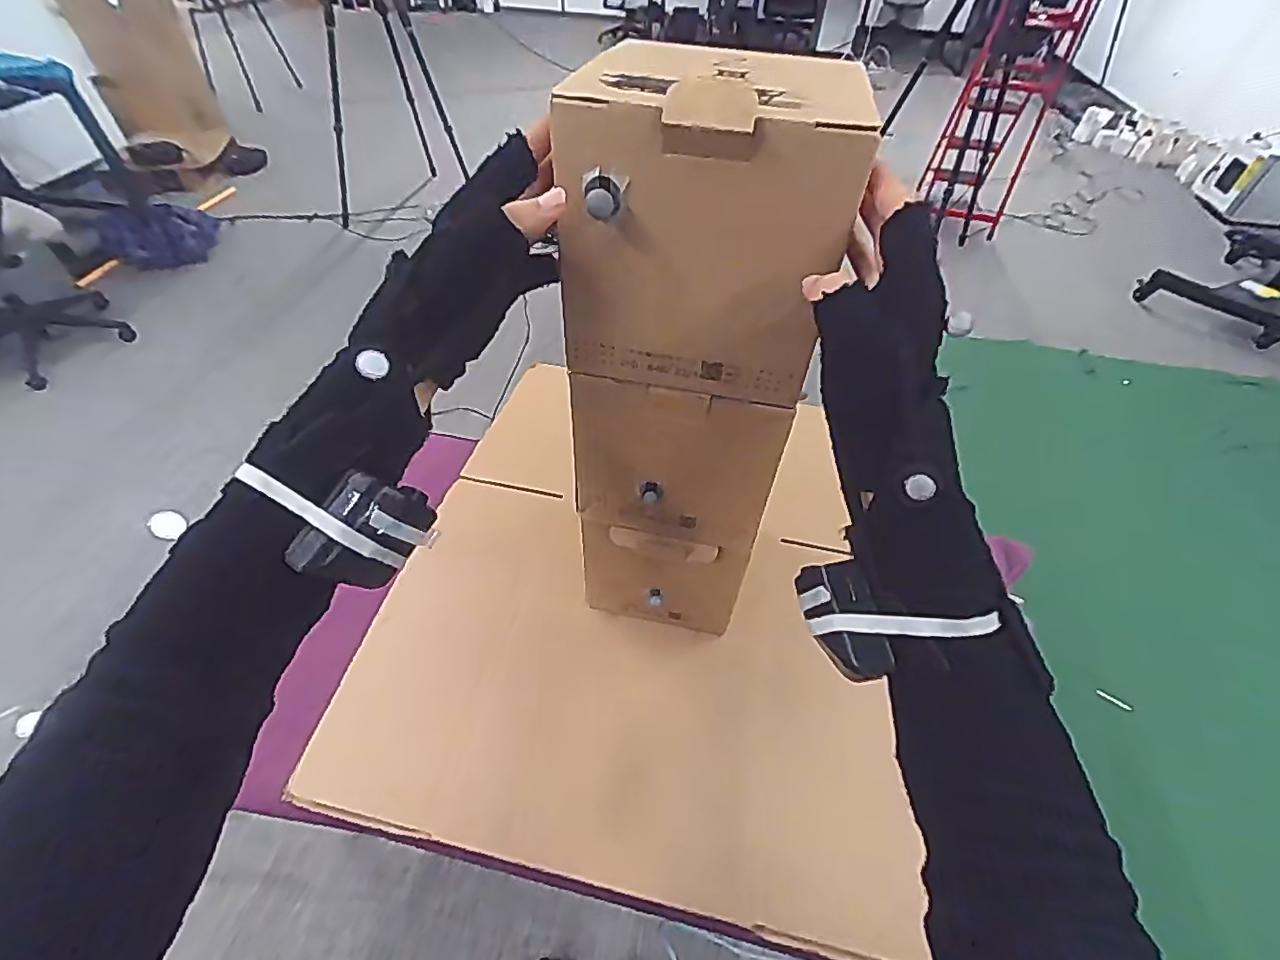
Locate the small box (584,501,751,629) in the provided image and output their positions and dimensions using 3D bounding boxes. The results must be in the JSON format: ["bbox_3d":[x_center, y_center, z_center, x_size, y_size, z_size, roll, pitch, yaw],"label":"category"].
[{"bbox_3d":[0.038,0.043,0.625,0.168,0.176,0.179,10,48,7],"label":"small box"}]

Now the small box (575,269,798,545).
[{"bbox_3d":[0.043,-0.068,0.506,0.168,0.176,0.179,11,48,7],"label":"small box"}]
